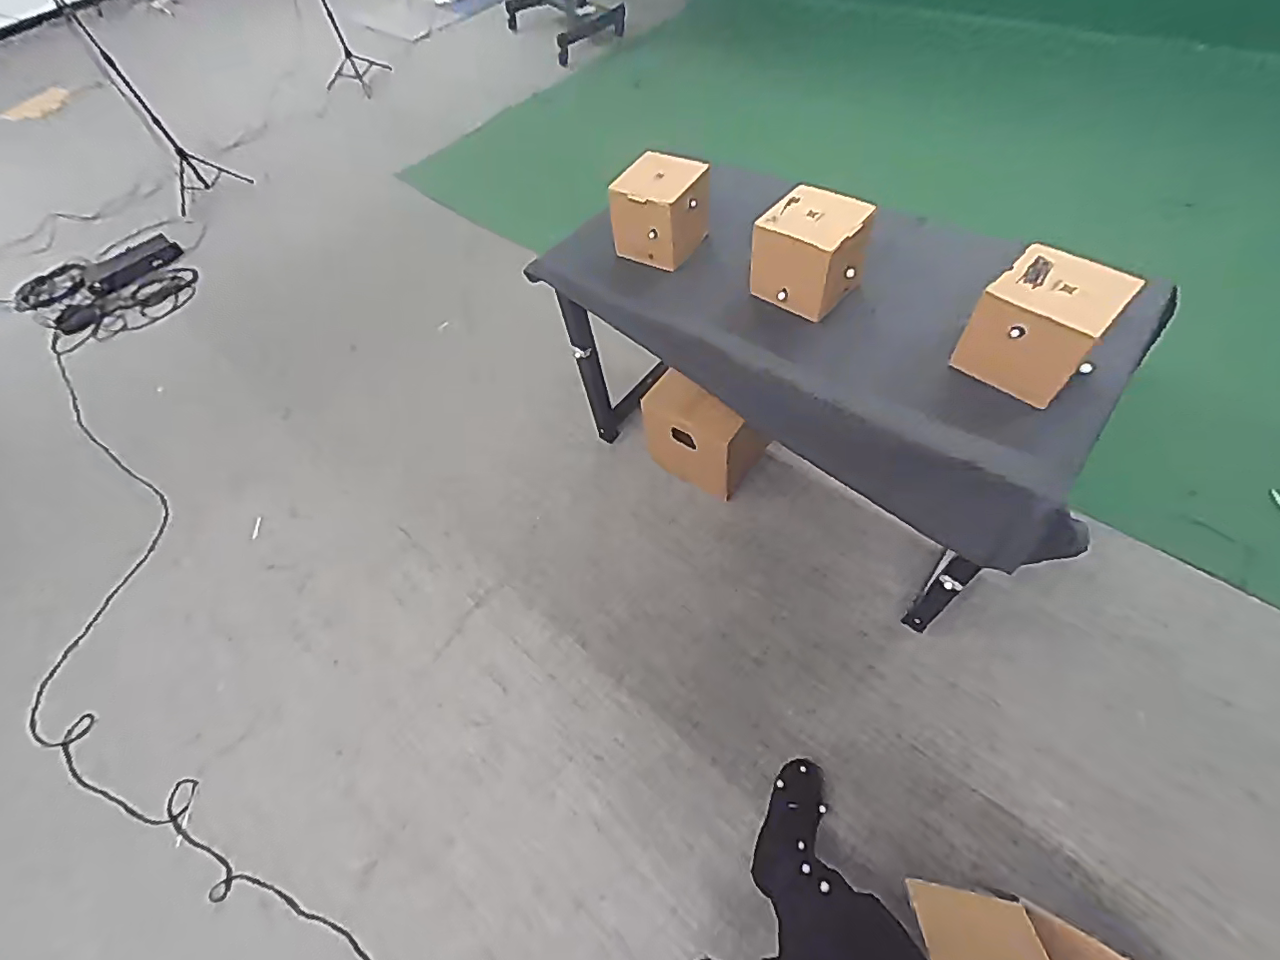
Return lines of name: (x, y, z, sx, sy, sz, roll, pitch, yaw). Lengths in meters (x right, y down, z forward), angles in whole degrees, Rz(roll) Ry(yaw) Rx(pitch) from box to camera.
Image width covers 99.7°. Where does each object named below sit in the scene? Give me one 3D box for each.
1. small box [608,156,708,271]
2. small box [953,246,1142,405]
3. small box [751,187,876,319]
small box: (0.049, -0.620, 1.266, 0.168, 0.176, 0.179, 26, 62, 21)
small box: (0.683, -0.261, 0.931, 0.168, 0.176, 0.179, -41, 61, -17)
small box: (0.348, -0.462, 1.116, 0.179, 0.176, 0.168, 36, 68, 26)
